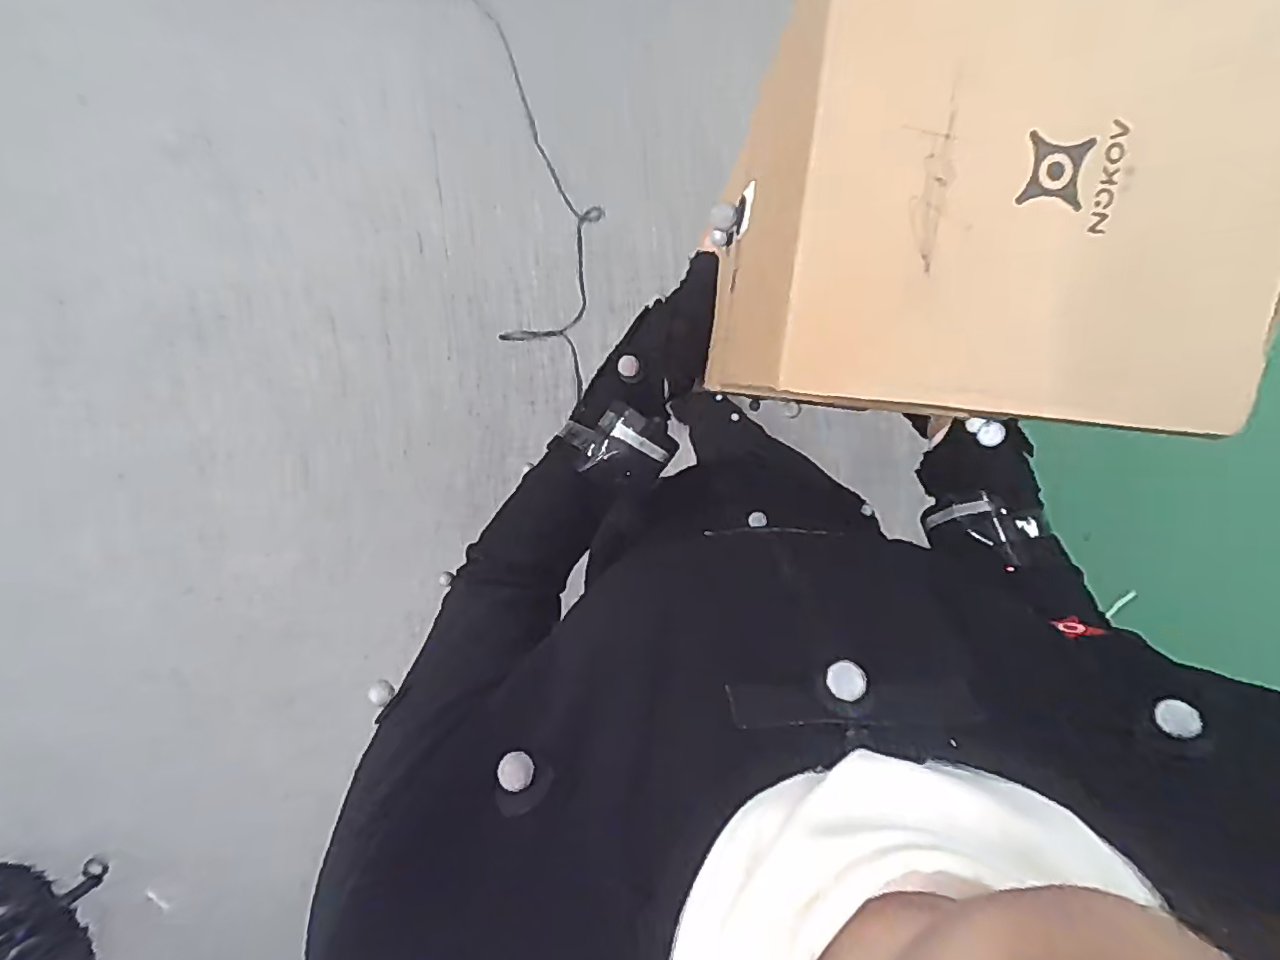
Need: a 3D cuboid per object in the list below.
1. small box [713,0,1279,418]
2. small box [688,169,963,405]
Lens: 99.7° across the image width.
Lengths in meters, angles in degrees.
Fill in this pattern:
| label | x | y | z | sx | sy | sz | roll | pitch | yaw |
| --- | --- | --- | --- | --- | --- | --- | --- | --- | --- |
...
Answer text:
| label | x | y | z | sx | sy | sz | roll | pitch | yaw |
| --- | --- | --- | --- | --- | --- | --- | --- | --- | --- |
| small box | 0.141 | -0.127 | 0.268 | 0.179 | 0.176 | 0.168 | 5 | 101 | 0 |
| small box | 0.143 | -0.155 | 0.426 | 0.179 | 0.176 | 0.168 | 6 | 100 | -2 |
